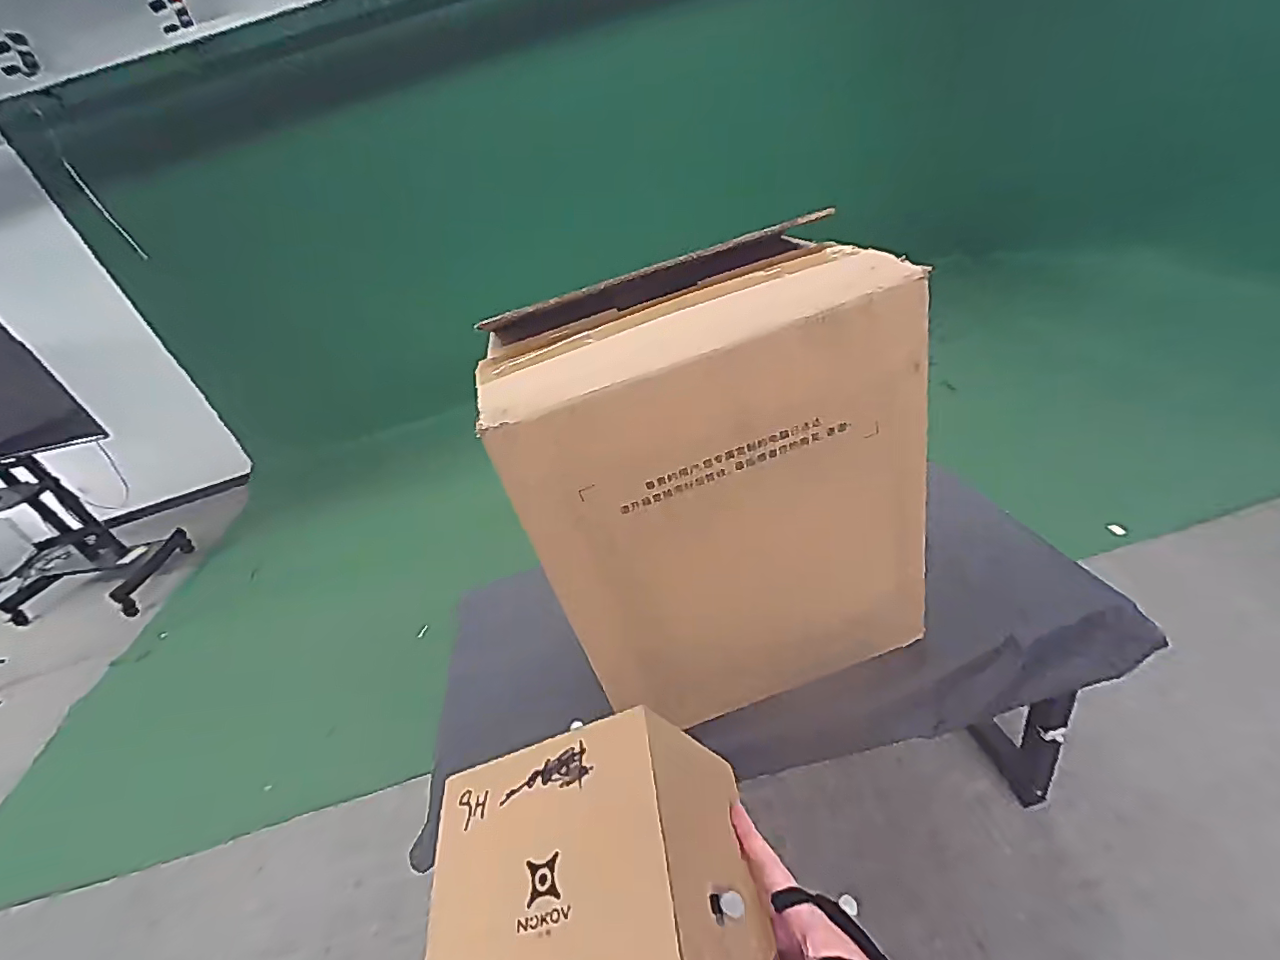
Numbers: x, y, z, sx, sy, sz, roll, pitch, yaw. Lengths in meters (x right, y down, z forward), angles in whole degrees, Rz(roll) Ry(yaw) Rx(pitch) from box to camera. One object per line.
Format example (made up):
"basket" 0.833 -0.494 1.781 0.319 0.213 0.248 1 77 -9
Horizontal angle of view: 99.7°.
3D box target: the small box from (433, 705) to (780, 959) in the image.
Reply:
"small box" -0.017 0.286 0.370 0.168 0.176 0.179 -26 44 12
